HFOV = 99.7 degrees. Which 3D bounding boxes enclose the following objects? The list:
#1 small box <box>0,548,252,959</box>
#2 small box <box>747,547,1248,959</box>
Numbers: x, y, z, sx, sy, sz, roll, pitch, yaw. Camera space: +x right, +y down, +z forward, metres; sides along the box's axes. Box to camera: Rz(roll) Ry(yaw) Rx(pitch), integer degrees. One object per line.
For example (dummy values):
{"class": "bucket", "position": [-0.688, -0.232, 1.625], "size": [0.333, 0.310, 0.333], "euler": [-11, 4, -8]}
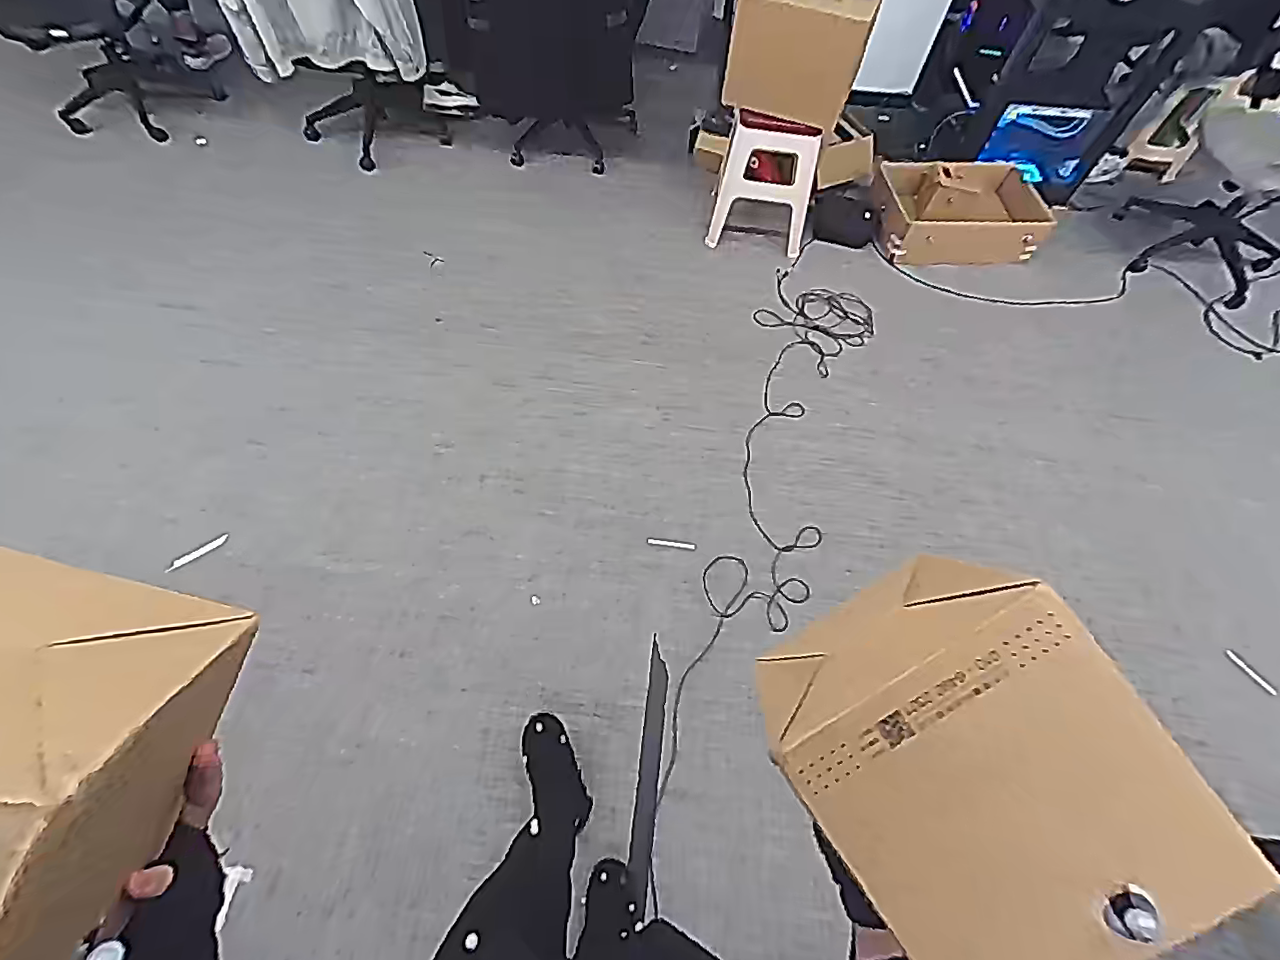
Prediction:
{"class": "small box", "position": [-0.285, 0.121, 0.198], "size": [0.168, 0.179, 0.176], "euler": [21, 86, -19]}
{"class": "small box", "position": [0.186, 0.157, 0.350], "size": [0.168, 0.179, 0.176], "euler": [-37, 84, 5]}
